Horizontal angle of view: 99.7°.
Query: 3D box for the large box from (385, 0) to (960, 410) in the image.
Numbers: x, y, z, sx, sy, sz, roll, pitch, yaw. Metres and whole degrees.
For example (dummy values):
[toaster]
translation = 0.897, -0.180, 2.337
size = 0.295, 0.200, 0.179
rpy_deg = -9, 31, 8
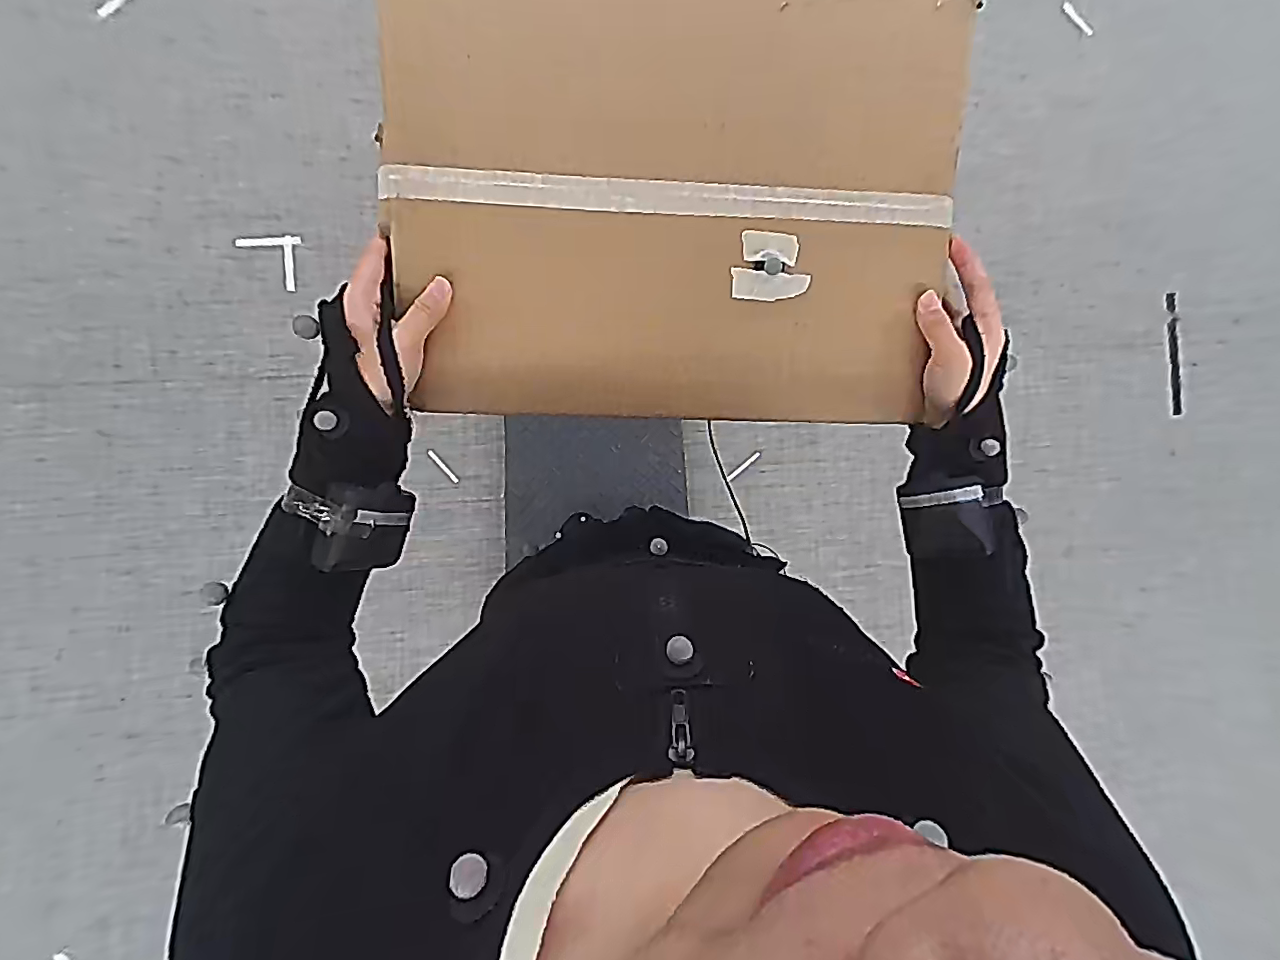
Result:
[large box]
translation = 0.013, -0.237, 0.537
size = 0.408, 0.320, 0.320
rpy_deg = 1, 102, -6
